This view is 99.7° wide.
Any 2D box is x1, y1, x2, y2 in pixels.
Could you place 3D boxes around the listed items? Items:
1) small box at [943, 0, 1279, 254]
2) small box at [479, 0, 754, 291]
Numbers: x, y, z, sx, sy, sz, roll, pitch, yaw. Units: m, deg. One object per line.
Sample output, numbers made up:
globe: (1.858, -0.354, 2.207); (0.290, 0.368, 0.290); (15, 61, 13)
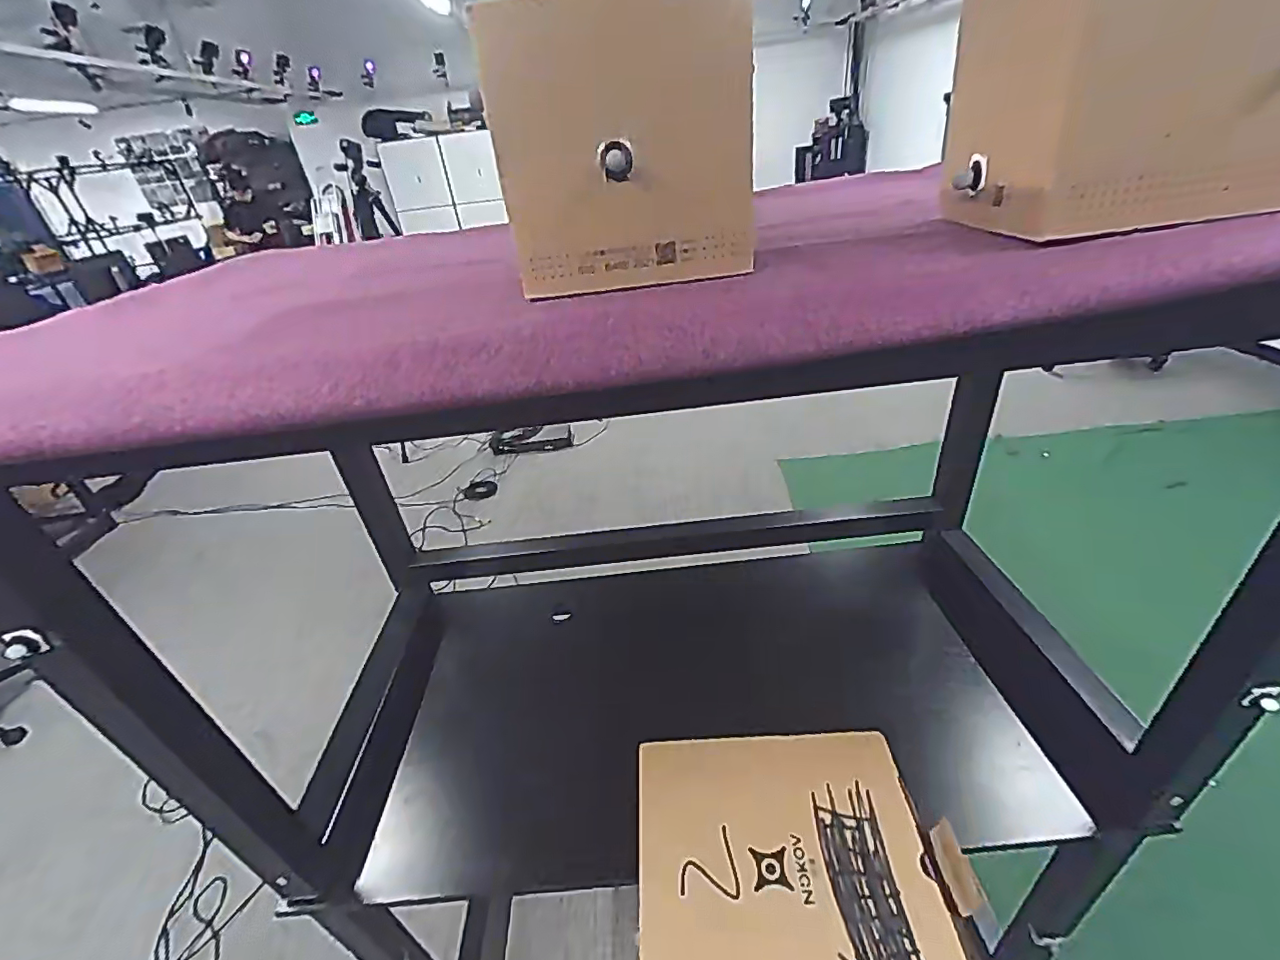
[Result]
small box: (0.341, -0.267, 0.375); (0.179, 0.176, 0.168); (-5, 29, 7)
small box: (-0.006, -0.251, 0.421); (0.168, 0.176, 0.179); (-5, 32, 2)
